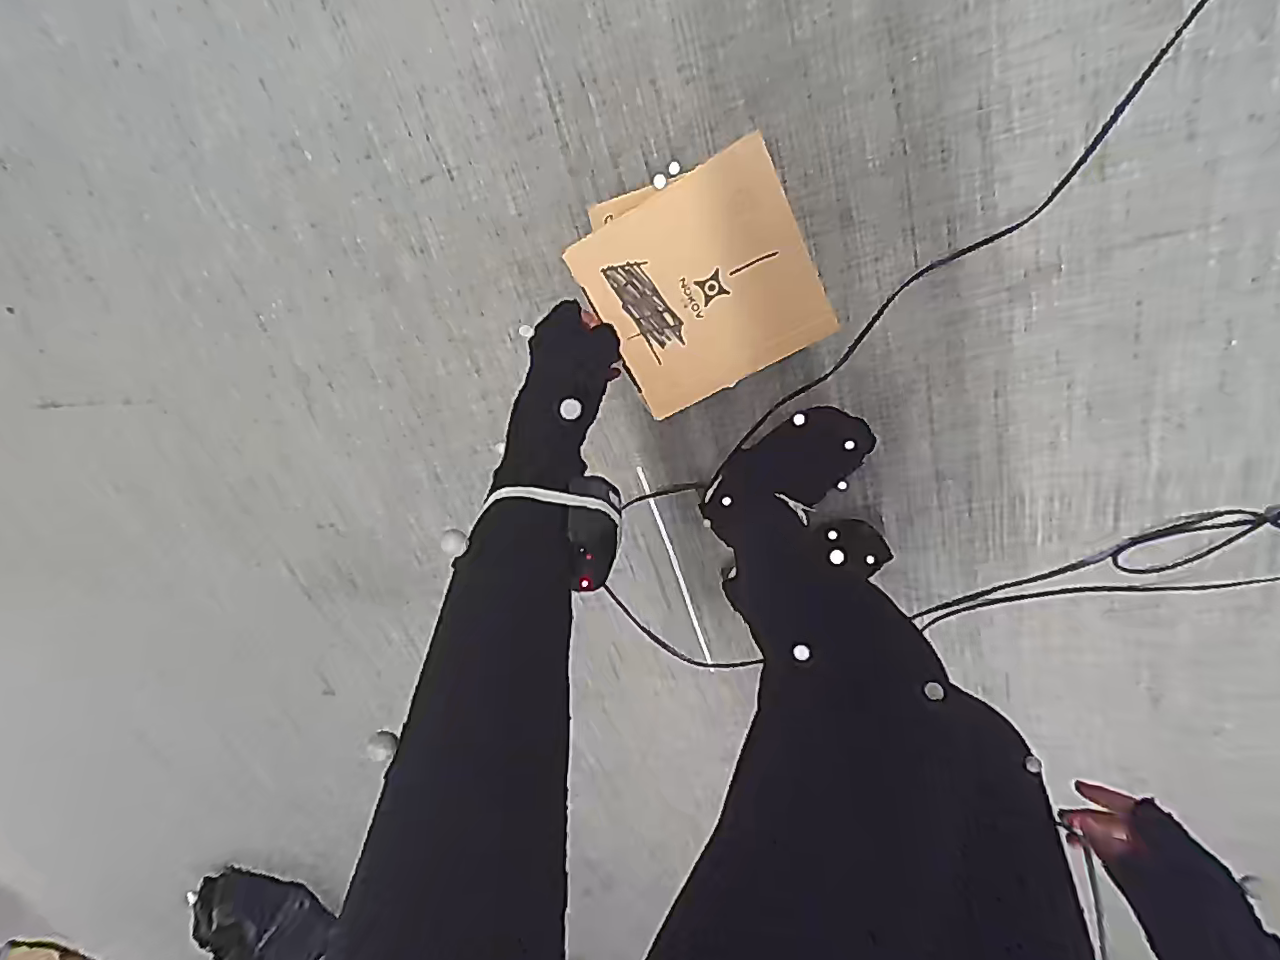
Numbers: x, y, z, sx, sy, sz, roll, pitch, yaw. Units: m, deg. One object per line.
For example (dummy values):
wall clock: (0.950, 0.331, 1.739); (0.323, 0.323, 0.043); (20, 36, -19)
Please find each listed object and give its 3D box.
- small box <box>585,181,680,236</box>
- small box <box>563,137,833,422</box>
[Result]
small box: (0.053, -0.267, 0.669); (0.168, 0.176, 0.179); (-11, 115, 15)
small box: (0.054, -0.184, 0.516); (0.179, 0.176, 0.168); (-26, 111, 14)
